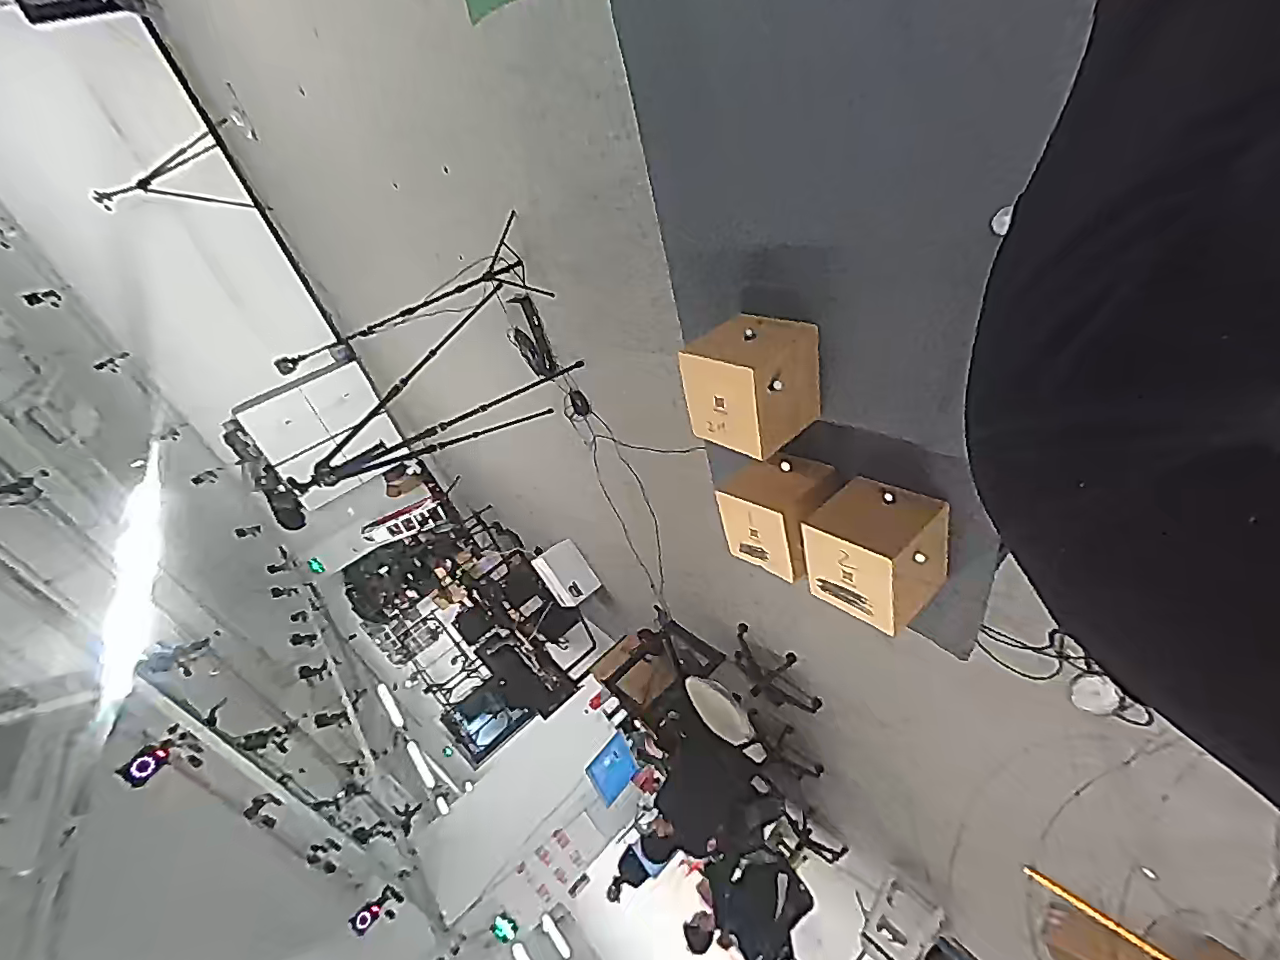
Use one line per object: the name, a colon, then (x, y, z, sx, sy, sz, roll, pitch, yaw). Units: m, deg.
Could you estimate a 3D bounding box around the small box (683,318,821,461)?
small box: (0.202, -0.168, 0.952, 0.168, 0.176, 0.179, 28, 144, 44)
